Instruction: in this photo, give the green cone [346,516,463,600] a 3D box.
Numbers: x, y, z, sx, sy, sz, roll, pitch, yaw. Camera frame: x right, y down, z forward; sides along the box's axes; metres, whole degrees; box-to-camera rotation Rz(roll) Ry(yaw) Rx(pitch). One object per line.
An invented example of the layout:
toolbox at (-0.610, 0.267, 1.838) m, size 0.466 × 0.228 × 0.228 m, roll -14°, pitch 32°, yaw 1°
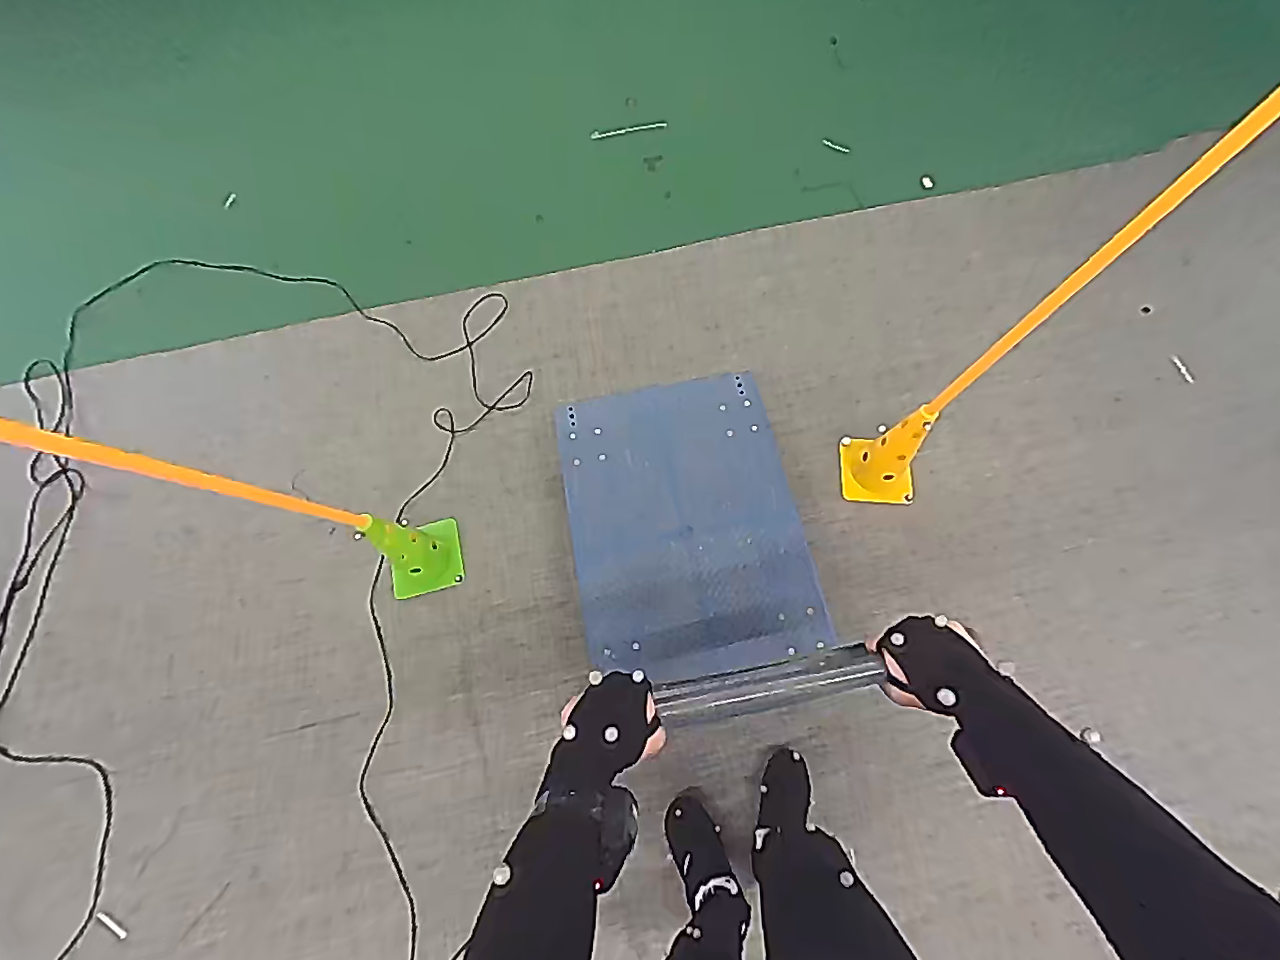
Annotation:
green cone at (-0.629, 0.162, 1.391) m, size 0.202 × 0.368 × 0.200 m, roll -17°, pitch 68°, yaw -2°
